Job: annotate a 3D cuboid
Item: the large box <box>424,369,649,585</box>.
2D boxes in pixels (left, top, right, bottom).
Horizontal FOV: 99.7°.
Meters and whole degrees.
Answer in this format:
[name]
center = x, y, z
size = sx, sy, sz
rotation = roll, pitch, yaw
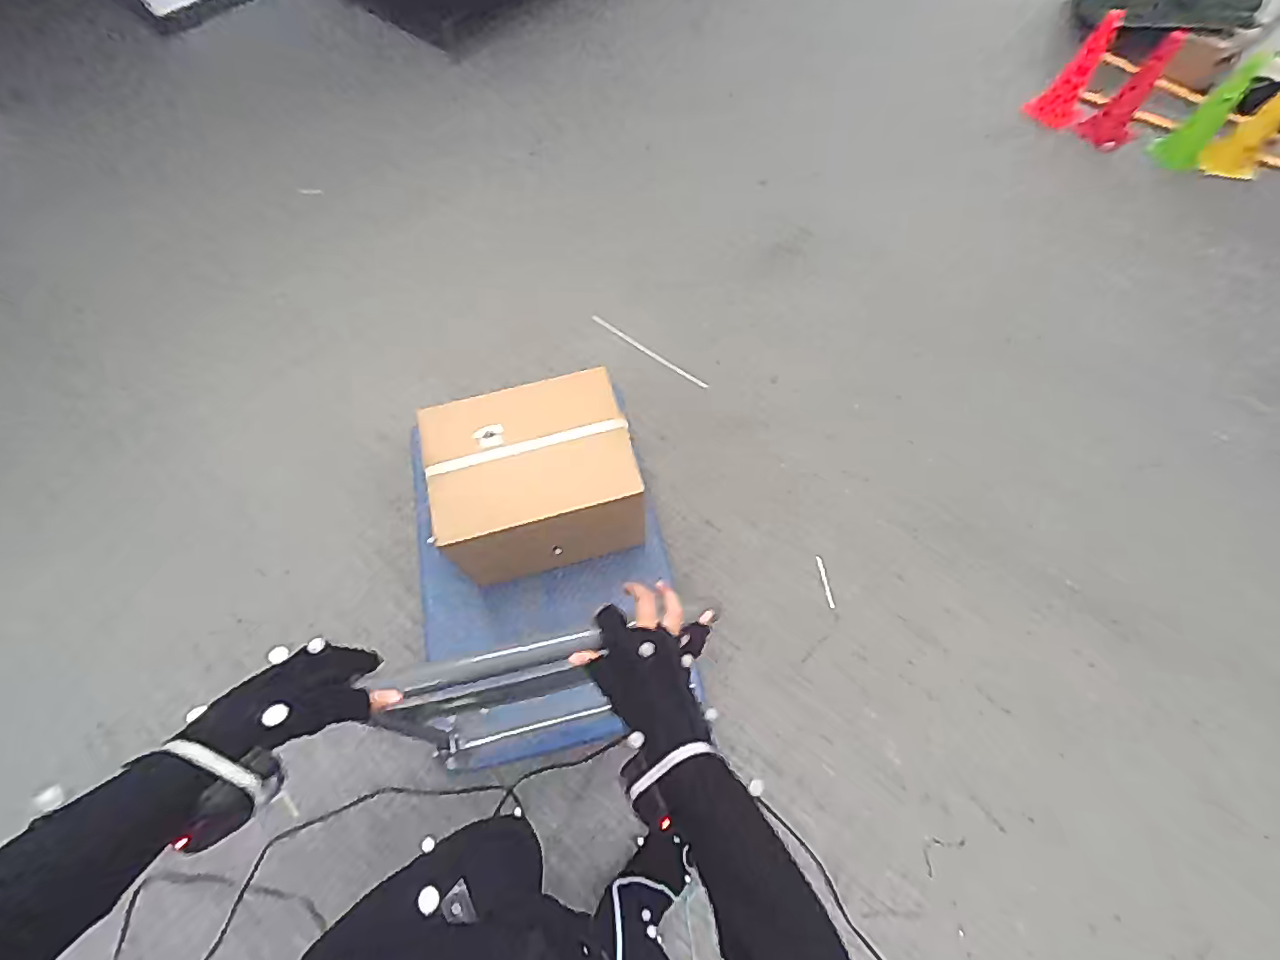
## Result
[large box]
center = -0.215, 0.006, 1.220
size = 0.408, 0.320, 0.320
rotation = -16, 64, -5
